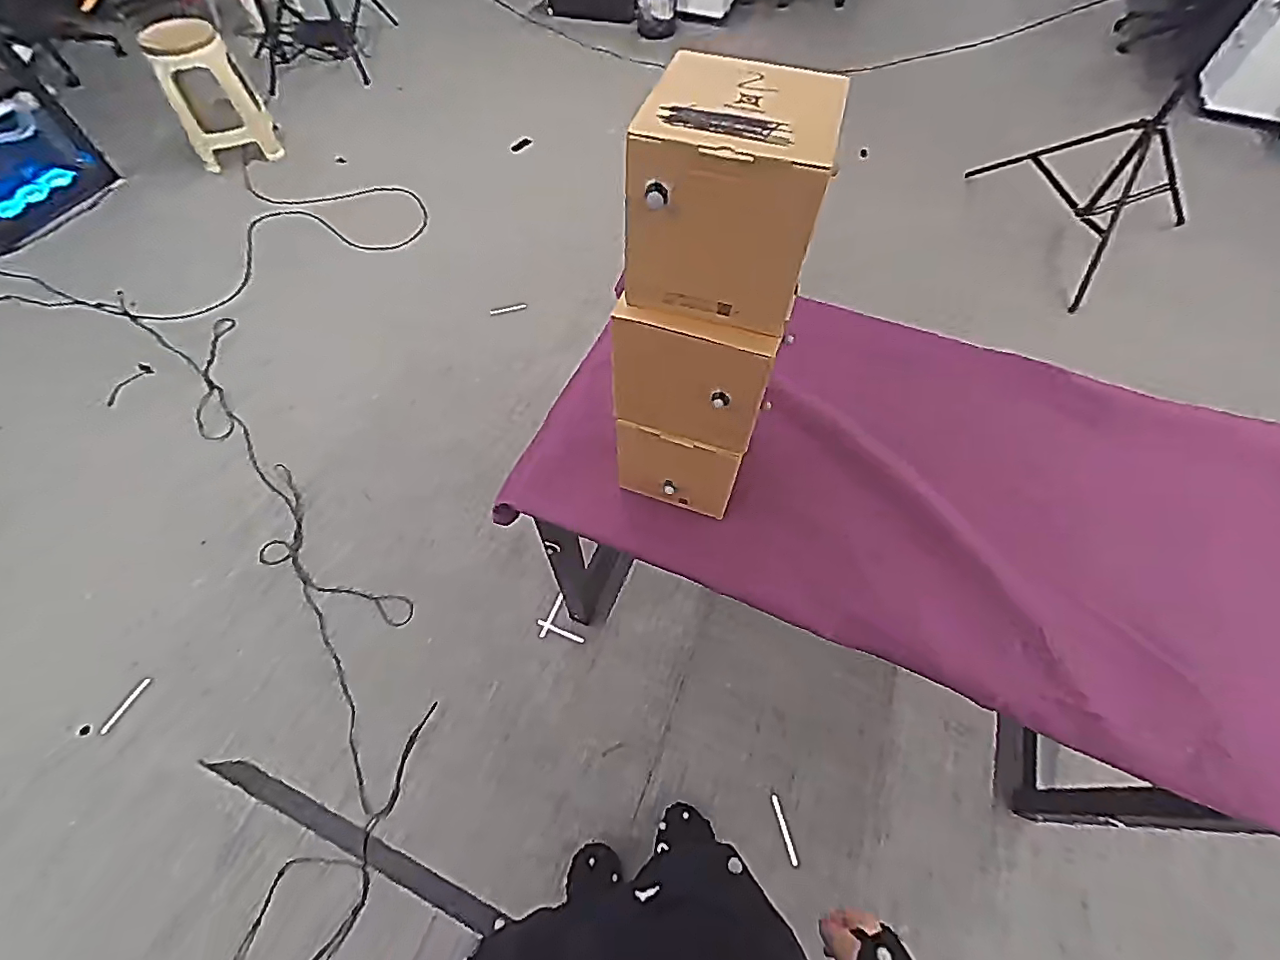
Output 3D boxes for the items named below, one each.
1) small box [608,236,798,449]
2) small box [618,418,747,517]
[{"bbox_3d":[0.073,-0.161,0.661,0.179,0.176,0.168,16,58,10],"label":"small box"},{"bbox_3d":[0.073,-0.075,0.798,0.168,0.176,0.179,18,60,10],"label":"small box"}]
